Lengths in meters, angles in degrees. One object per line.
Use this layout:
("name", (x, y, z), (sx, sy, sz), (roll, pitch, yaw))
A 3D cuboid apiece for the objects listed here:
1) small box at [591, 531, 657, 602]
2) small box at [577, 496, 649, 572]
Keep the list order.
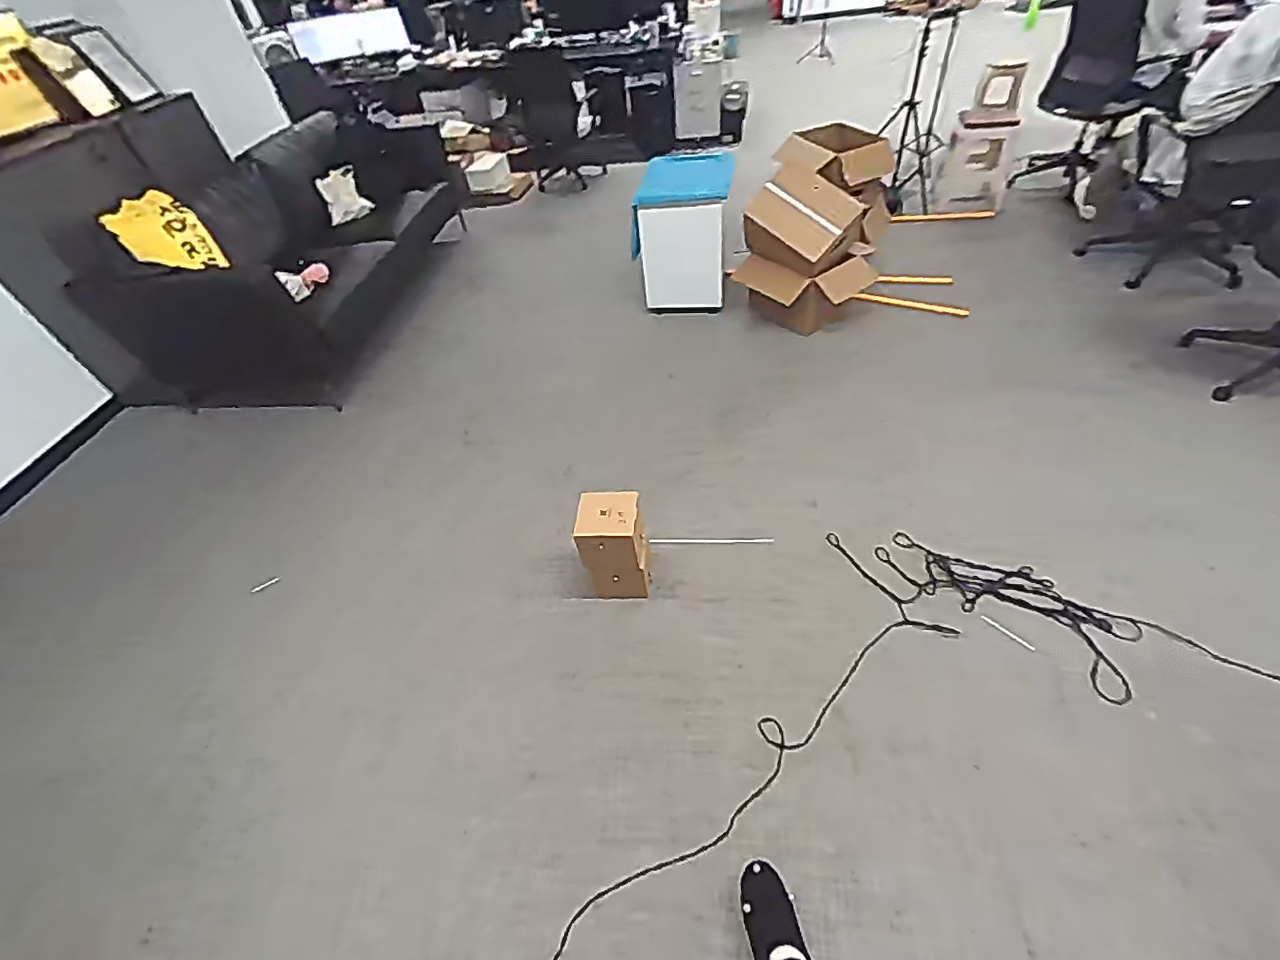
("small box", (-0.045, 0.278, 1.734), (0.179, 0.176, 0.168), (-1, 46, 8))
("small box", (-0.076, 0.164, 1.619), (0.179, 0.176, 0.168), (-1, 47, 9))
